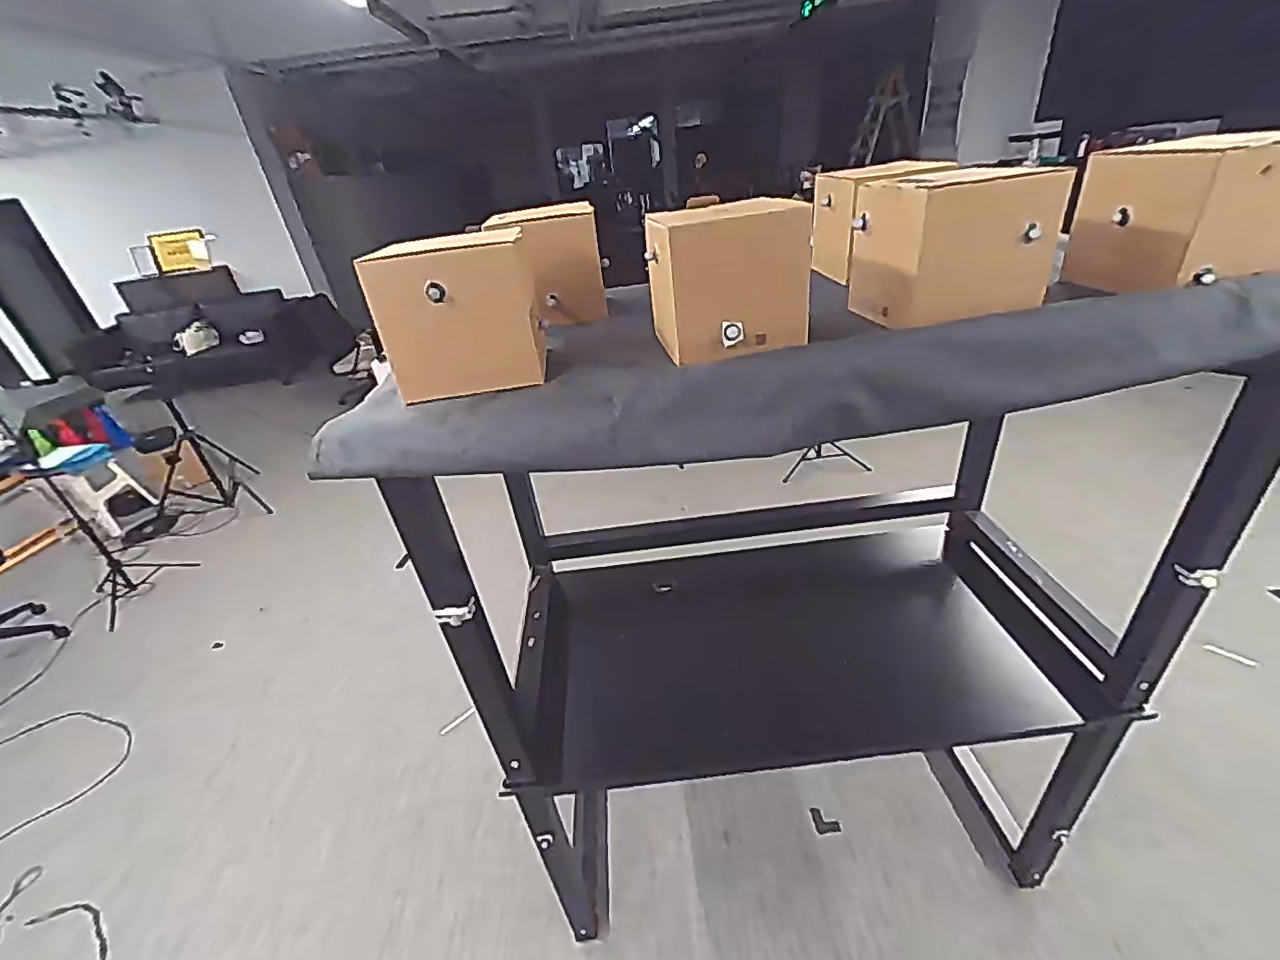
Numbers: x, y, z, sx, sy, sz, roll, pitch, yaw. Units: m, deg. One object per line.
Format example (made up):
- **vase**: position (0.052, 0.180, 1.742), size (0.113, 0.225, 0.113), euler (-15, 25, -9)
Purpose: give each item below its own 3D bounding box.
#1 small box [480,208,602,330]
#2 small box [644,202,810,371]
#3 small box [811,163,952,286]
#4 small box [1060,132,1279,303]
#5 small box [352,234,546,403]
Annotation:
- **small box**: position (-0.161, -0.364, 0.939), size (0.179, 0.176, 0.168), euler (-8, 31, -2)
- **small box**: position (0.103, -0.251, 0.694), size (0.168, 0.176, 0.179), euler (-10, 30, -3)
- **small box**: position (0.411, -0.447, 0.950), size (0.168, 0.176, 0.179), euler (-8, 31, -1)
- **small box**: position (0.695, -0.332, 0.691), size (0.168, 0.176, 0.179), euler (-9, 30, -2)
- **small box**: position (-0.226, -0.208, 0.691), size (0.179, 0.176, 0.168), euler (-9, 30, -4)
